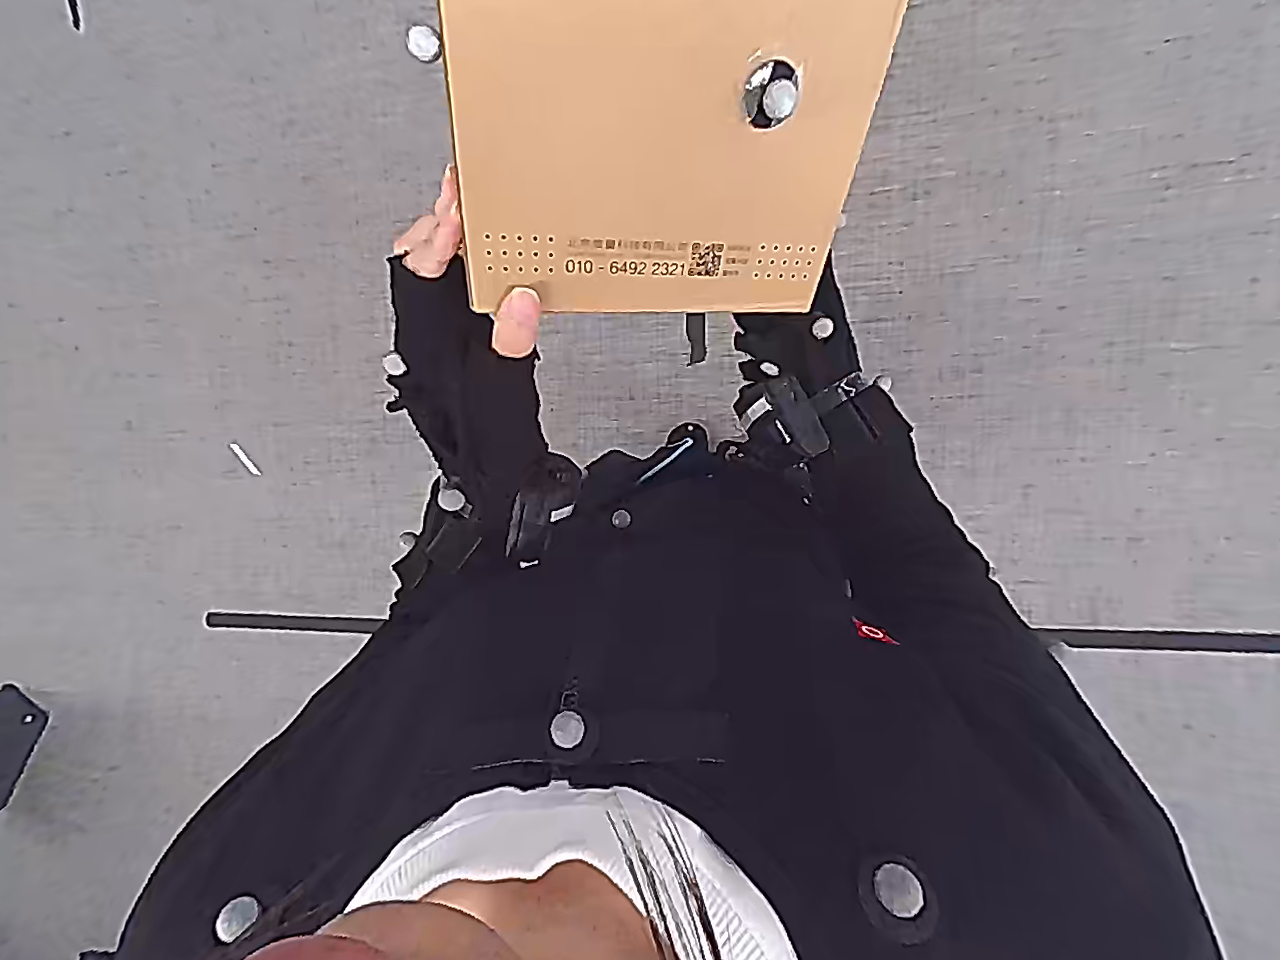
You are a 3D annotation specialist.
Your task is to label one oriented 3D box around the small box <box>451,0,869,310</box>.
[{"bbox_3d":[-0.003,-0.202,0.283,0.168,0.179,0.176,-3,132,-12],"label":"small box"}]
